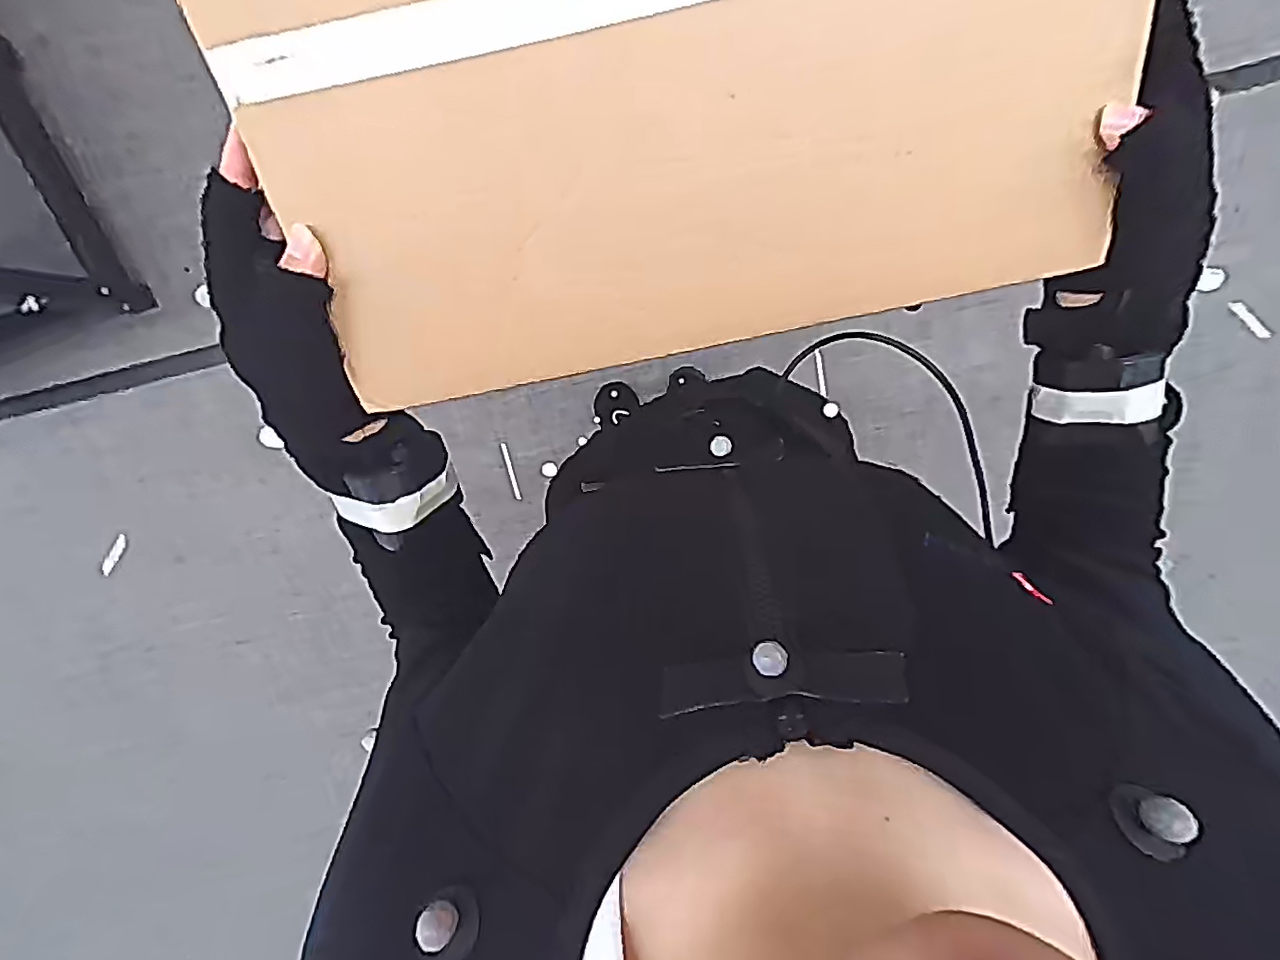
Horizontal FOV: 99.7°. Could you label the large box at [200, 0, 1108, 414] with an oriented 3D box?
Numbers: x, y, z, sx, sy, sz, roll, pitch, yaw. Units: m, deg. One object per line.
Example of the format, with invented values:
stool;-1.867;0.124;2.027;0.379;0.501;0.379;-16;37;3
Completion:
large box;0.007;-0.277;0.371;0.408;0.320;0.320;-11;116;2
